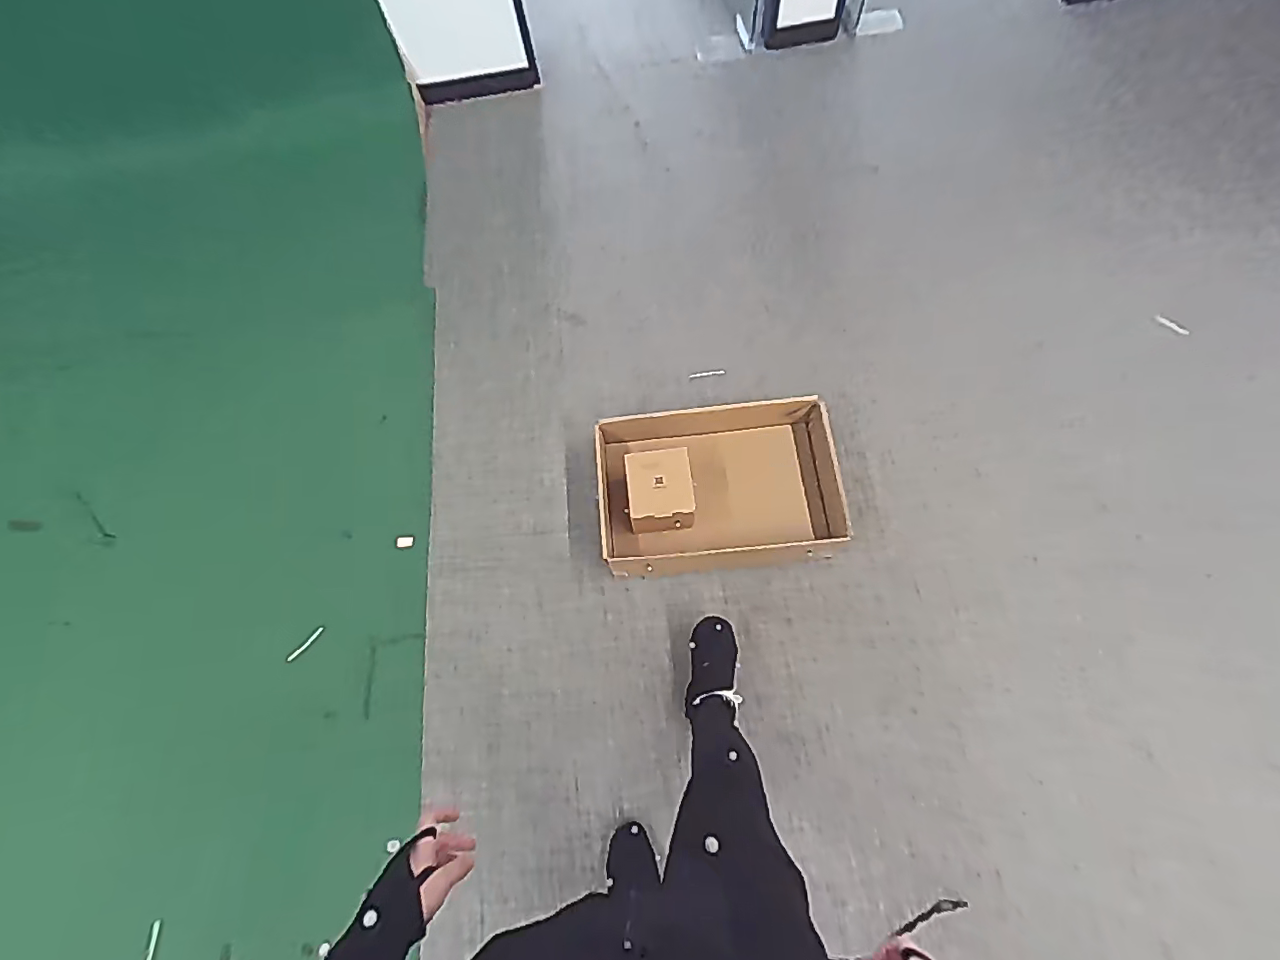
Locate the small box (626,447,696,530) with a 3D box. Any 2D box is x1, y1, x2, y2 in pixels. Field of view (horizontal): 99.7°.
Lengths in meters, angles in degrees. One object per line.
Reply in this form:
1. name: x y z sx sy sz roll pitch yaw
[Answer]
1. small box: 0.058 0.030 1.436 0.168 0.176 0.179 -6 70 1
